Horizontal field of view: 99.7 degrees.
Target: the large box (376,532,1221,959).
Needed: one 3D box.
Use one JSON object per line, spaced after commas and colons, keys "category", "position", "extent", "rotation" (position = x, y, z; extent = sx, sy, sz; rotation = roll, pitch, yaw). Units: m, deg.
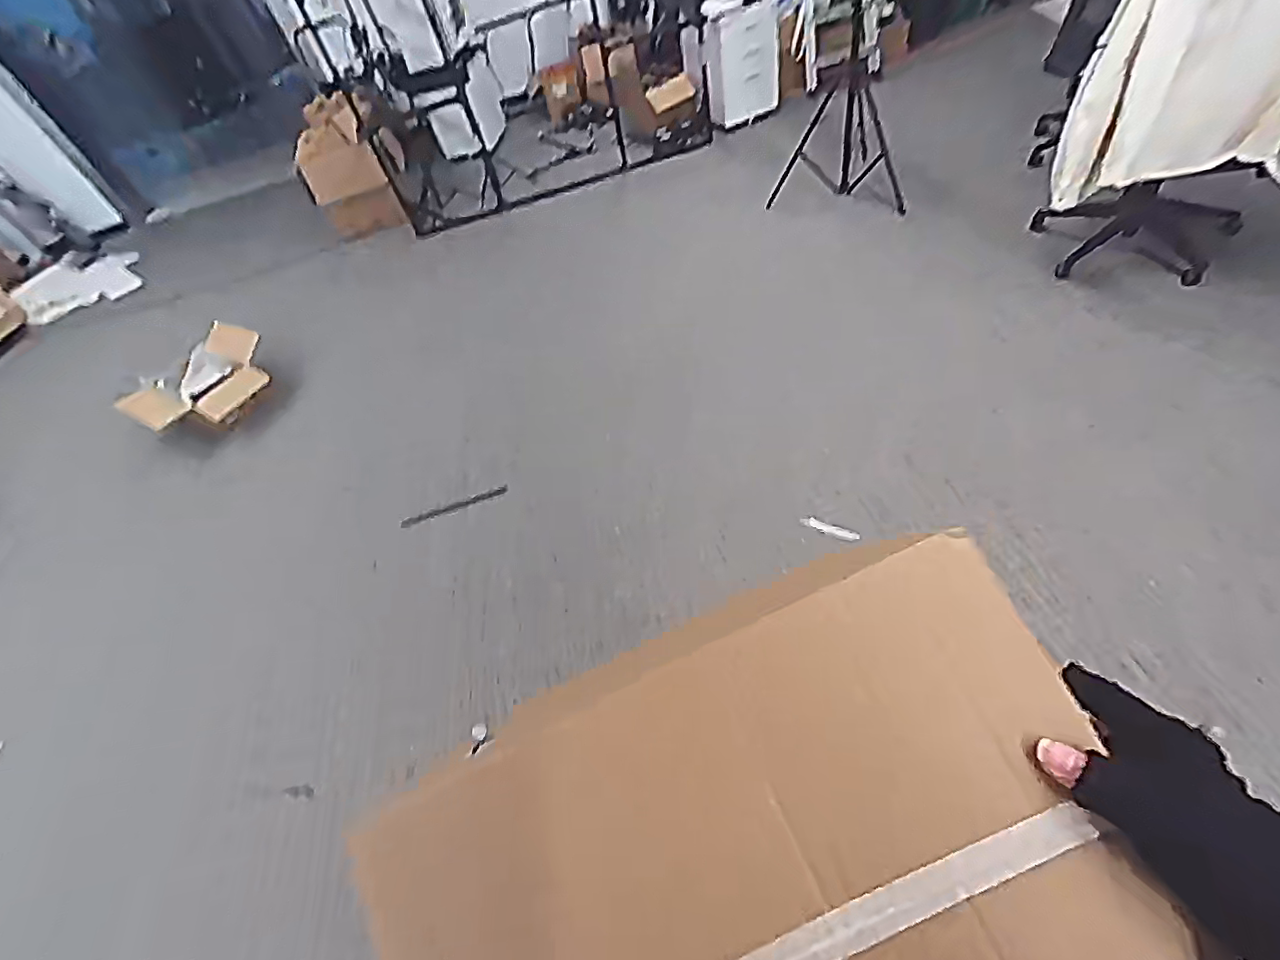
{"category": "large box", "position": [0.093, 0.281, 0.440], "extent": [0.408, 0.320, 0.320], "rotation": [-27, 78, 2]}
